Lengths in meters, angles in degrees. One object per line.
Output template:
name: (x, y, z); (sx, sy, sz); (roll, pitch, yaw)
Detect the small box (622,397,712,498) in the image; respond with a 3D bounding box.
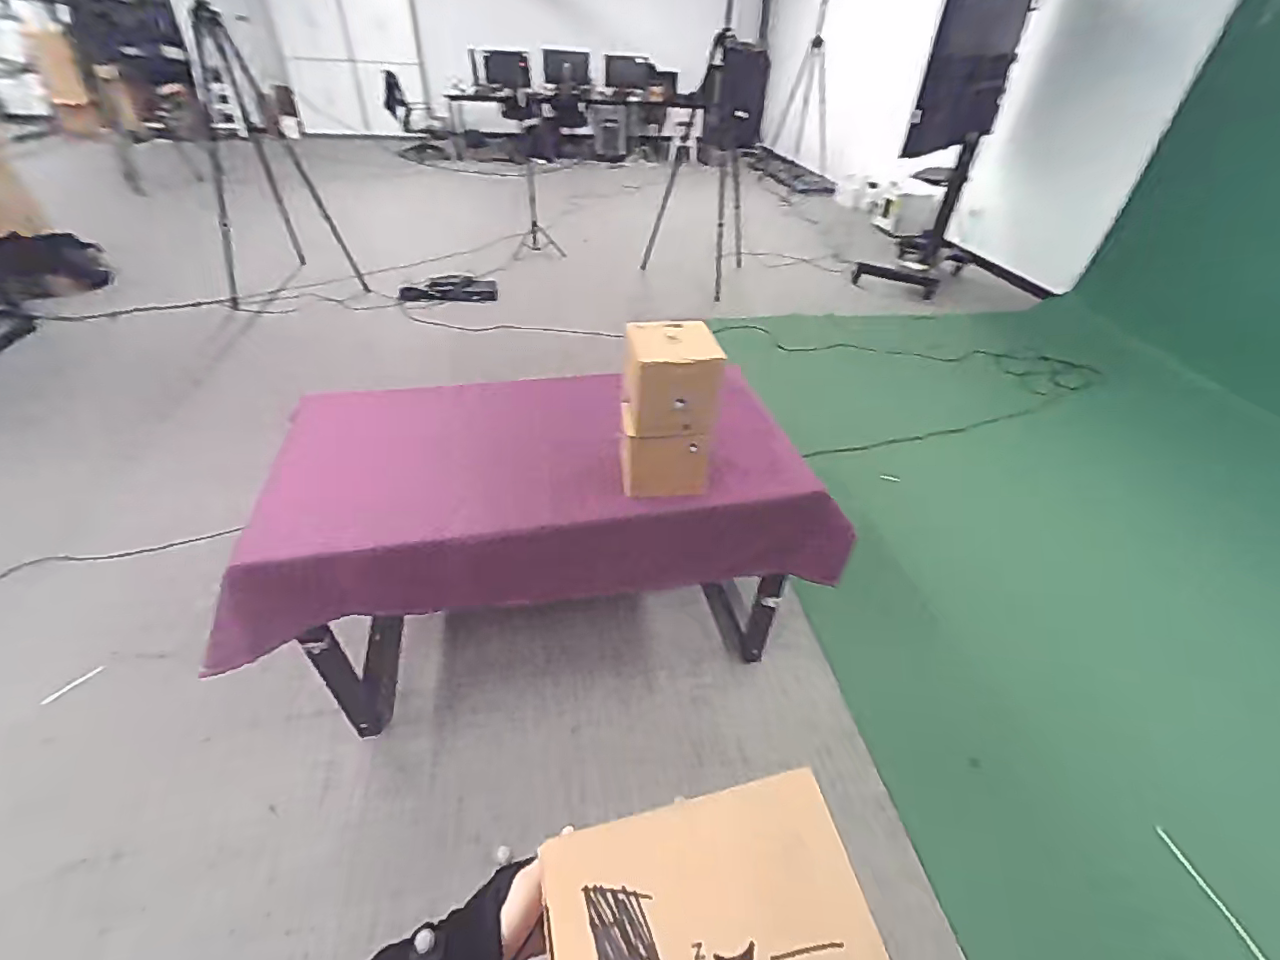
small box: (0.051, -0.073, 1.198); (0.179, 0.176, 0.168); (-1, 40, -6)

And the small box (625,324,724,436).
small box: (0.061, -0.200, 1.094); (0.168, 0.176, 0.179); (-4, 41, -9)
